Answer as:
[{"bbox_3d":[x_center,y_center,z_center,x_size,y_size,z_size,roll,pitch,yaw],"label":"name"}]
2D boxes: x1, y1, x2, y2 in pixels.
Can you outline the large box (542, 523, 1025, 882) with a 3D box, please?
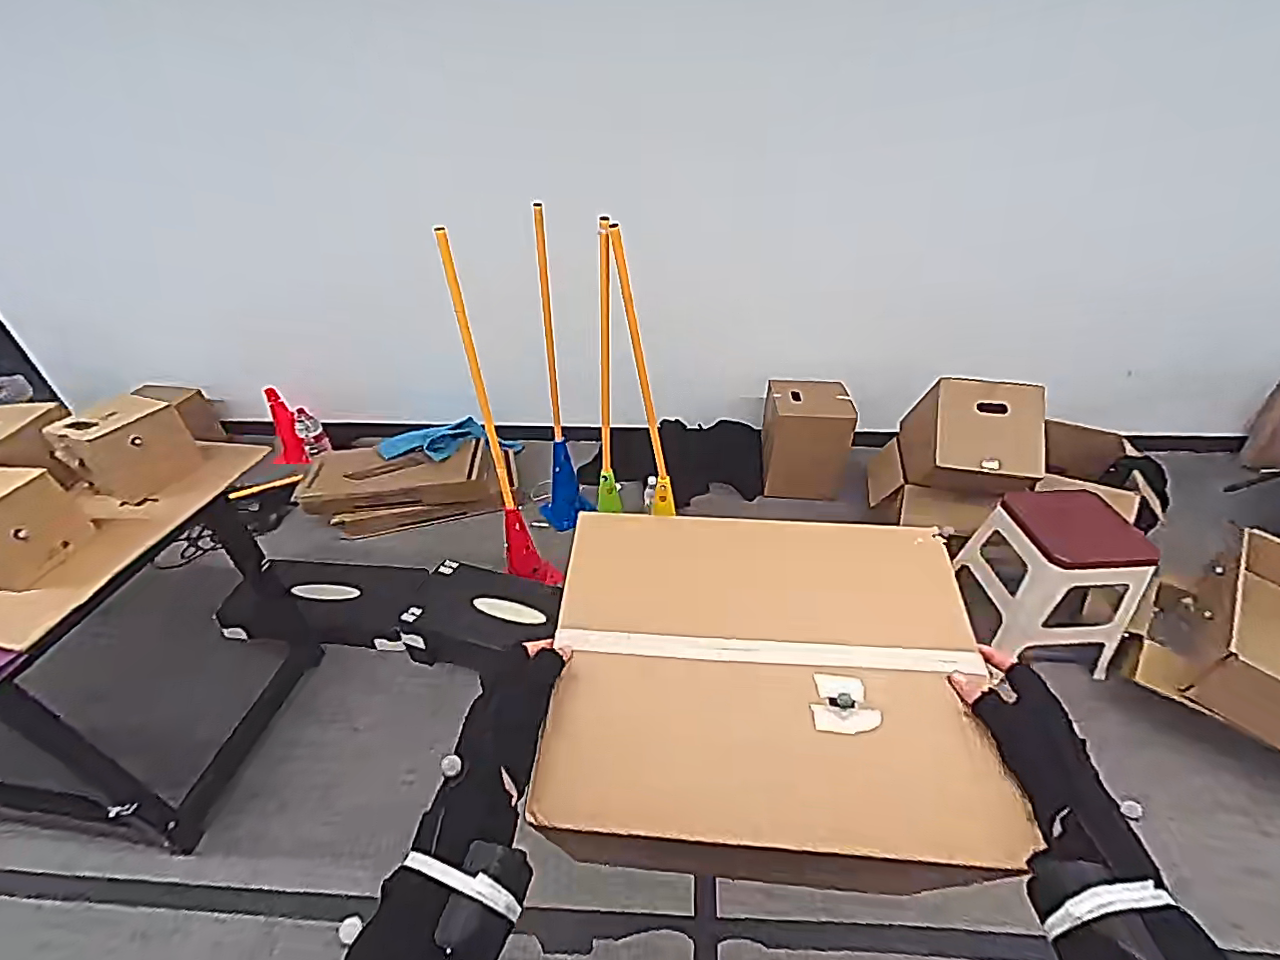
[{"bbox_3d":[0.126,0.270,0.651,0.408,0.320,0.320,2,51,5],"label":"large box"}]
